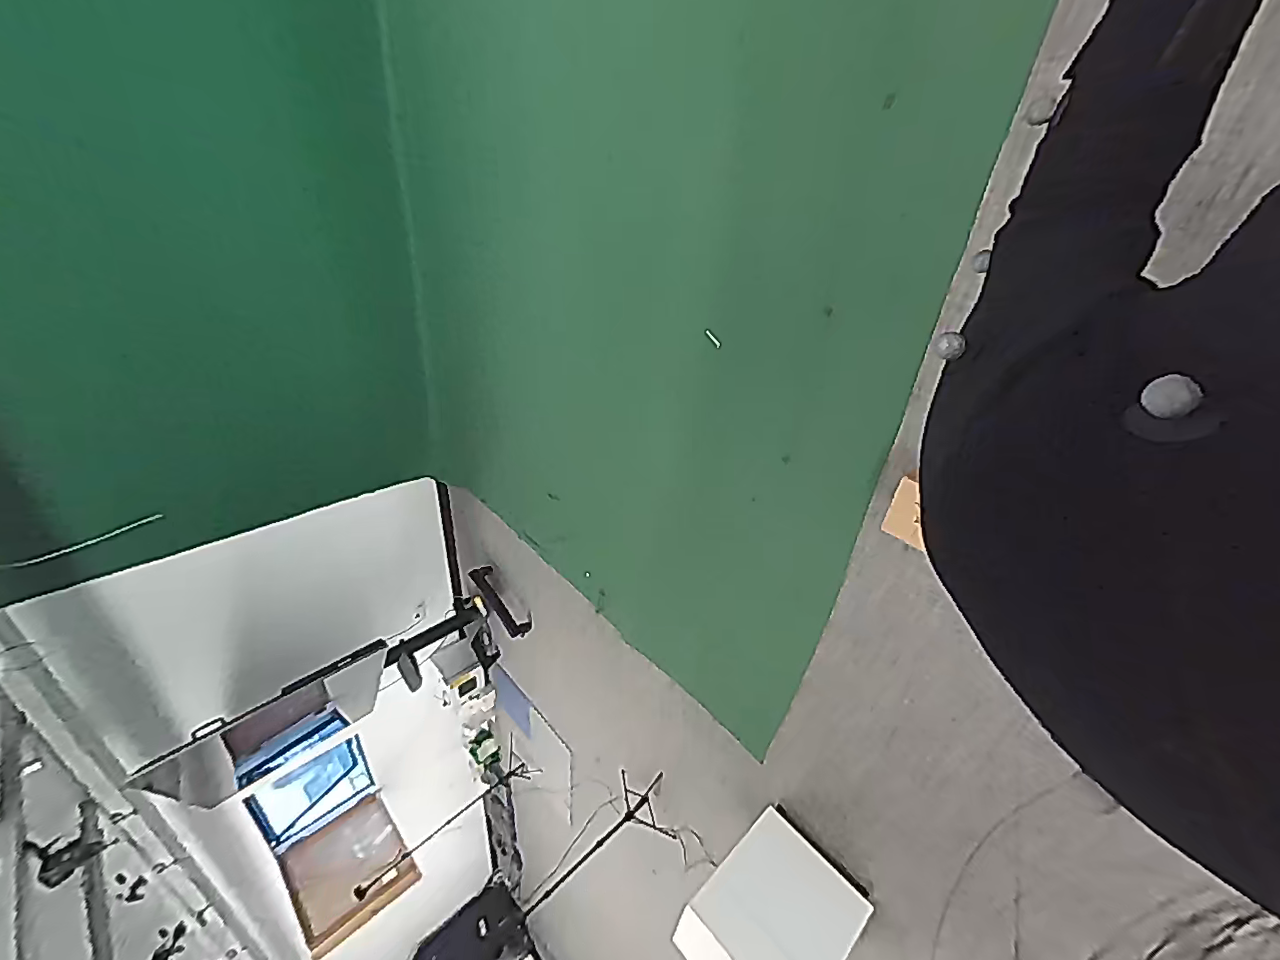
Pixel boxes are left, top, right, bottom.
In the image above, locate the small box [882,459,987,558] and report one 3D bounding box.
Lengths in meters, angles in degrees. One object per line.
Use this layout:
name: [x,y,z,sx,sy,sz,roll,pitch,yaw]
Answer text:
small box: [0.778,0.066,1.423,0.168,0.176,0.179,34,133,35]
